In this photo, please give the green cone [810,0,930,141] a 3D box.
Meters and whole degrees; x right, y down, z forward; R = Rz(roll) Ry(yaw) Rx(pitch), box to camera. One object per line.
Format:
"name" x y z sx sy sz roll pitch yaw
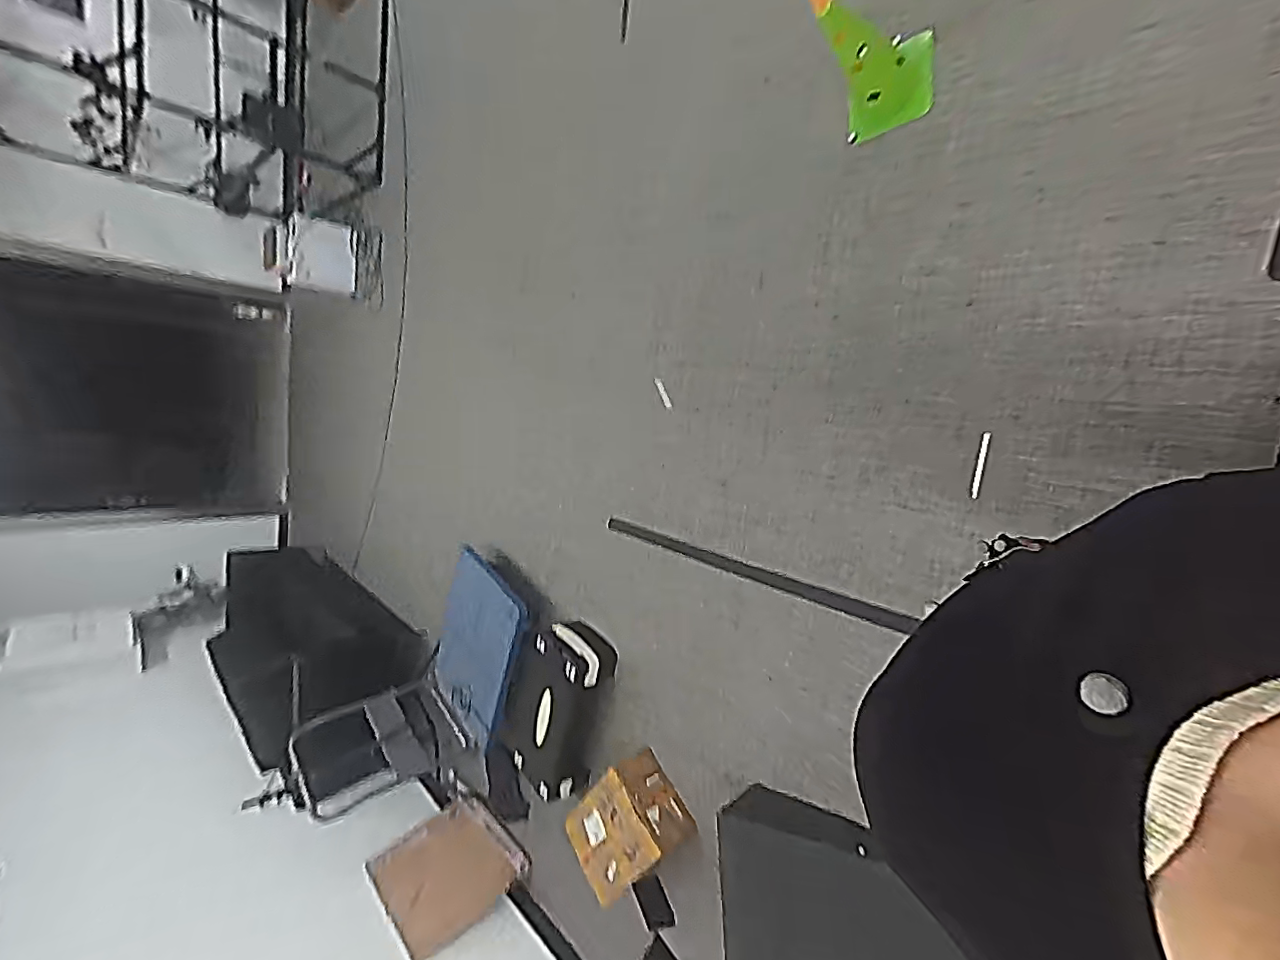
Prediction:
"green cone" 0.493 -0.980 1.224 0.200 0.368 0.202 0 89 45
